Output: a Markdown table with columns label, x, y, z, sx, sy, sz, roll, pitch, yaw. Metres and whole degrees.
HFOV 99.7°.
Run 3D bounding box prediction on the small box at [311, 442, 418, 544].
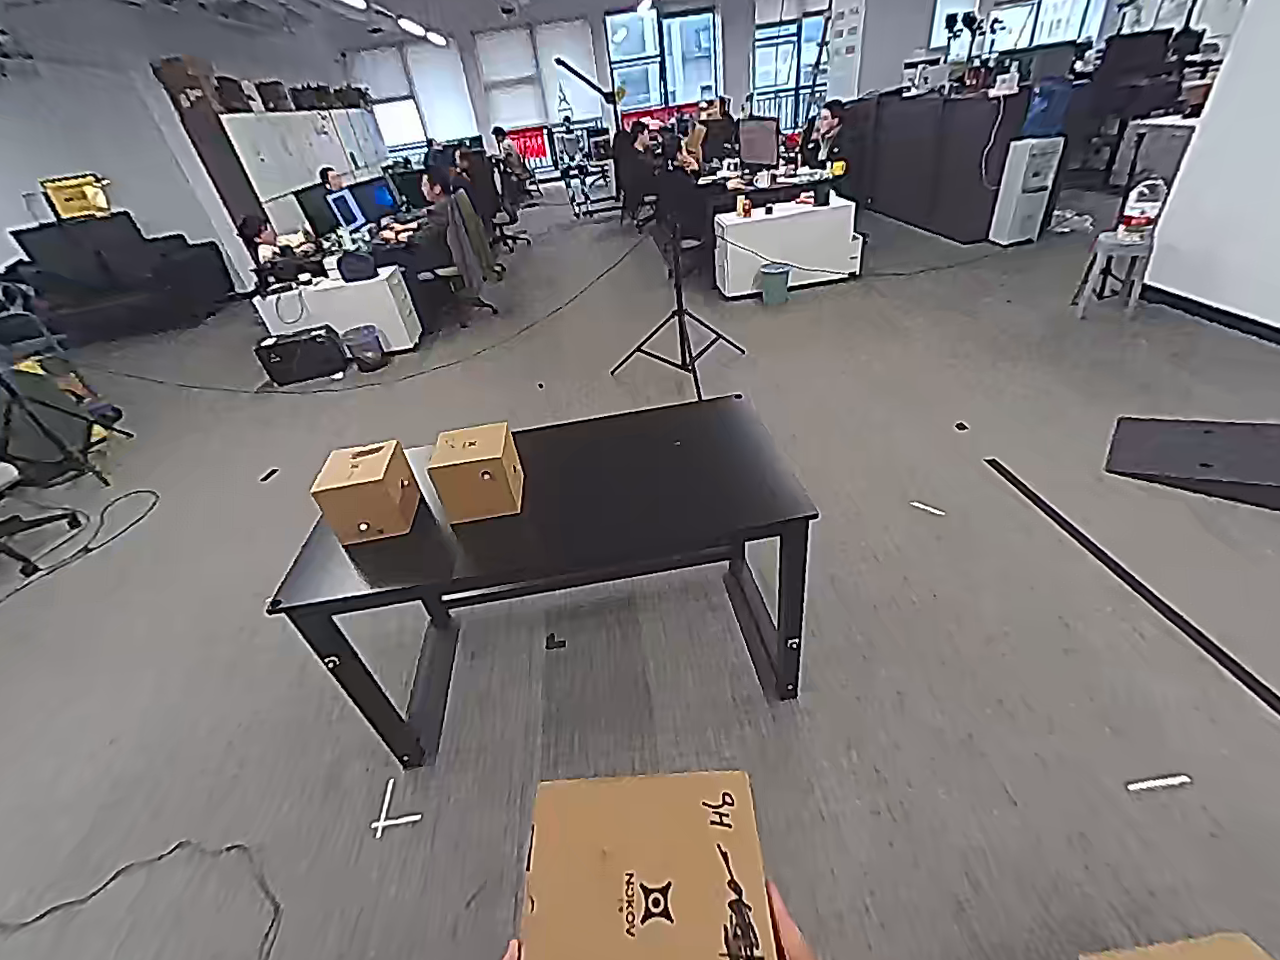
| label | x | y | z | sx | sy | sz | roll | pitch | yaw |
| --- | --- | --- | --- | --- | --- | --- | --- | --- | --- |
| small box | -0.663 | 0.031 | 1.328 | 0.168 | 0.176 | 0.179 | -11 | 37 | -3 |

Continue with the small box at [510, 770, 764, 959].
| label | x | y | z | sx | sy | sz | roll | pitch | yaw |
| --- | --- | --- | --- | --- | --- | --- | --- | --- | --- |
| small box | 0.004 | 0.359 | 0.443 | 0.179 | 0.176 | 0.168 | -5 | 43 | 2 |

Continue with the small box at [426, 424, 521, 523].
| label | x | y | z | sx | sy | sz | roll | pitch | yaw |
| --- | --- | --- | --- | --- | --- | --- | --- | --- | --- |
| small box | -0.400 | -0.015 | 1.336 | 0.179 | 0.176 | 0.168 | -10 | 35 | -2 |
